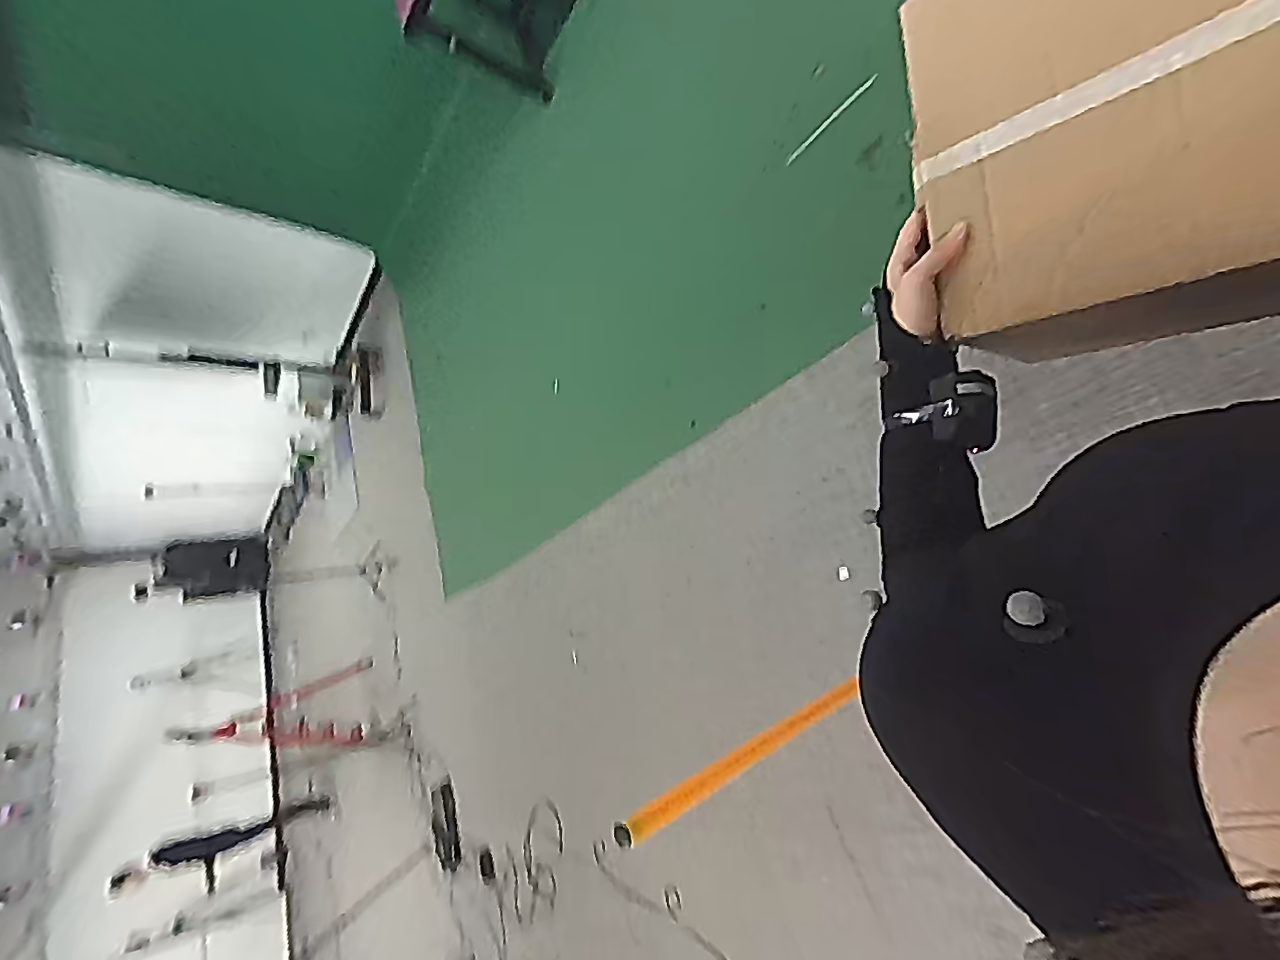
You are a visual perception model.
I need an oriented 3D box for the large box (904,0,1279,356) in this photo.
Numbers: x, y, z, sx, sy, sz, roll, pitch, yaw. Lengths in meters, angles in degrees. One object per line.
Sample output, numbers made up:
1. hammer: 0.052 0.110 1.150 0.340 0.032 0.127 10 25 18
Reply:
1. large box: 0.503 -0.320 0.455 0.408 0.320 0.320 -9 89 46
